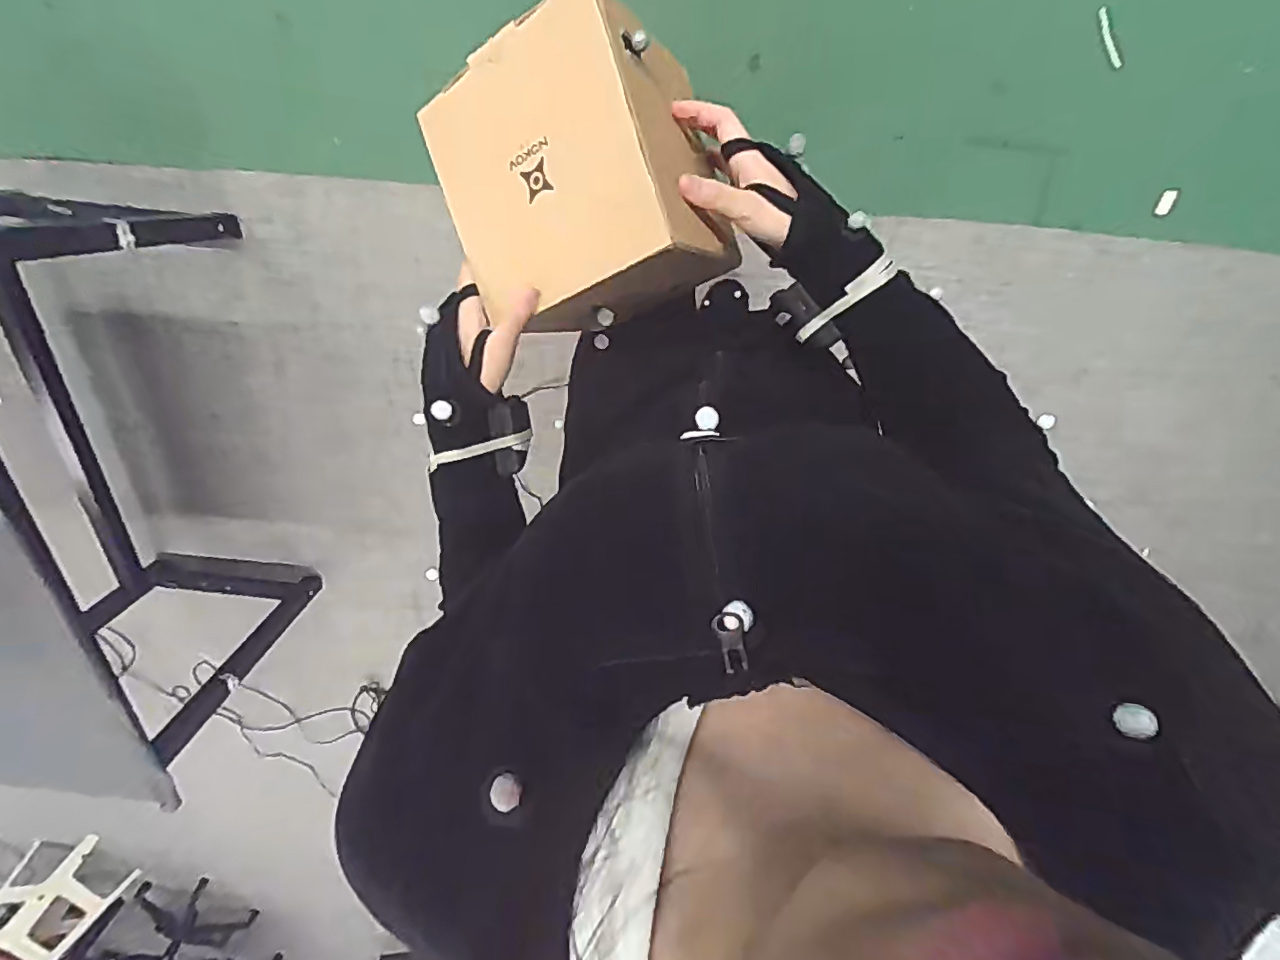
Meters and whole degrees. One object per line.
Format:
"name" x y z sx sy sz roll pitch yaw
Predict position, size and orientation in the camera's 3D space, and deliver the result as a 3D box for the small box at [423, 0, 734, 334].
"small box" -0.038 -0.235 0.453 0.168 0.176 0.179 -15 96 30
